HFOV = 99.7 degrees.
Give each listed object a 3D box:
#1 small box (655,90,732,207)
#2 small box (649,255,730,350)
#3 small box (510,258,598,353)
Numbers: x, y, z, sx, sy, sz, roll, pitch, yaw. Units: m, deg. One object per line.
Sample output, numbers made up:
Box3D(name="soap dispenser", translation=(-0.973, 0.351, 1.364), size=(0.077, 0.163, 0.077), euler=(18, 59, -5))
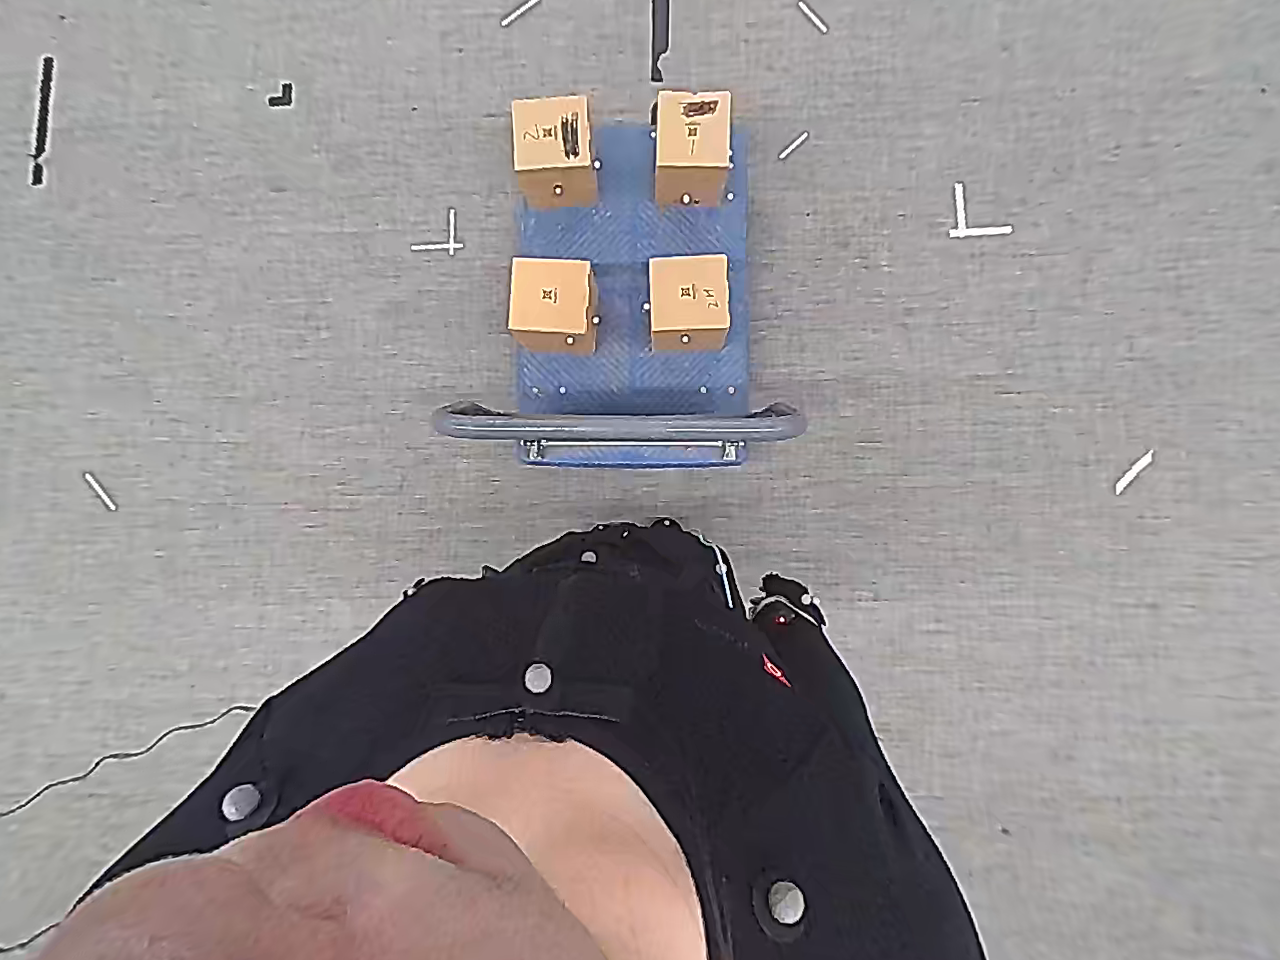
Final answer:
Box3D(name="small box", translation=(0.123, -0.782, 1.287), size=(0.168, 0.176, 0.179), euler=(2, 88, 2))
Box3D(name="small box", translation=(0.113, -0.409, 1.269), size=(0.179, 0.176, 0.168), euler=(-2, 87, 2))
Box3D(name="small box", translation=(-0.197, -0.406, 1.278), size=(0.179, 0.176, 0.168), euler=(2, 87, 0))
